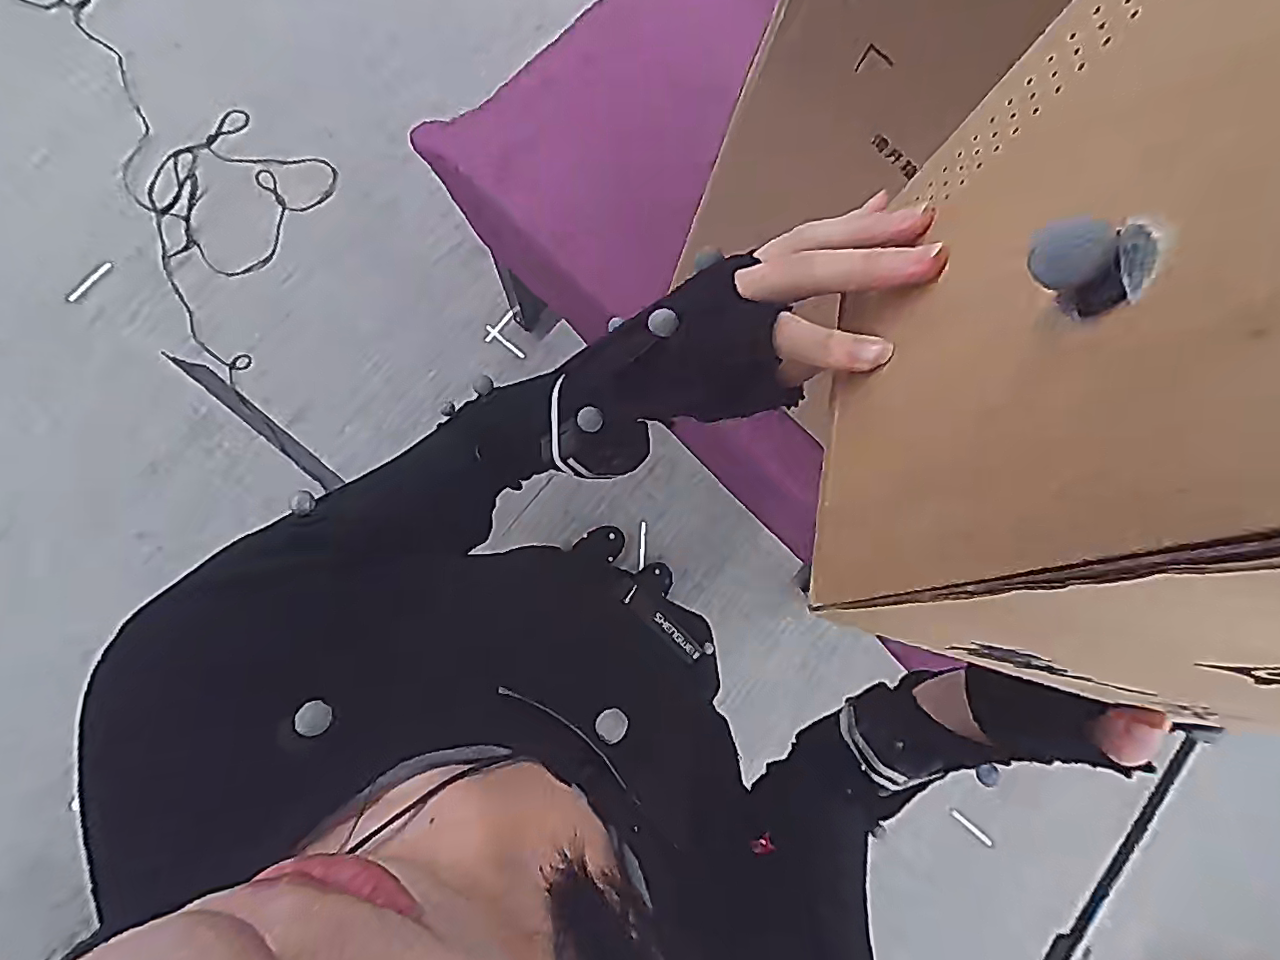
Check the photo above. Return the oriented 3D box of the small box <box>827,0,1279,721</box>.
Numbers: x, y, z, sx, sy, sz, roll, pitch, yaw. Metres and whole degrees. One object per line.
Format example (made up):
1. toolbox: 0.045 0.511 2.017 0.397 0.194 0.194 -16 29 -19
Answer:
1. small box: 0.173 -0.037 0.146 0.168 0.179 0.176 18 67 -10
